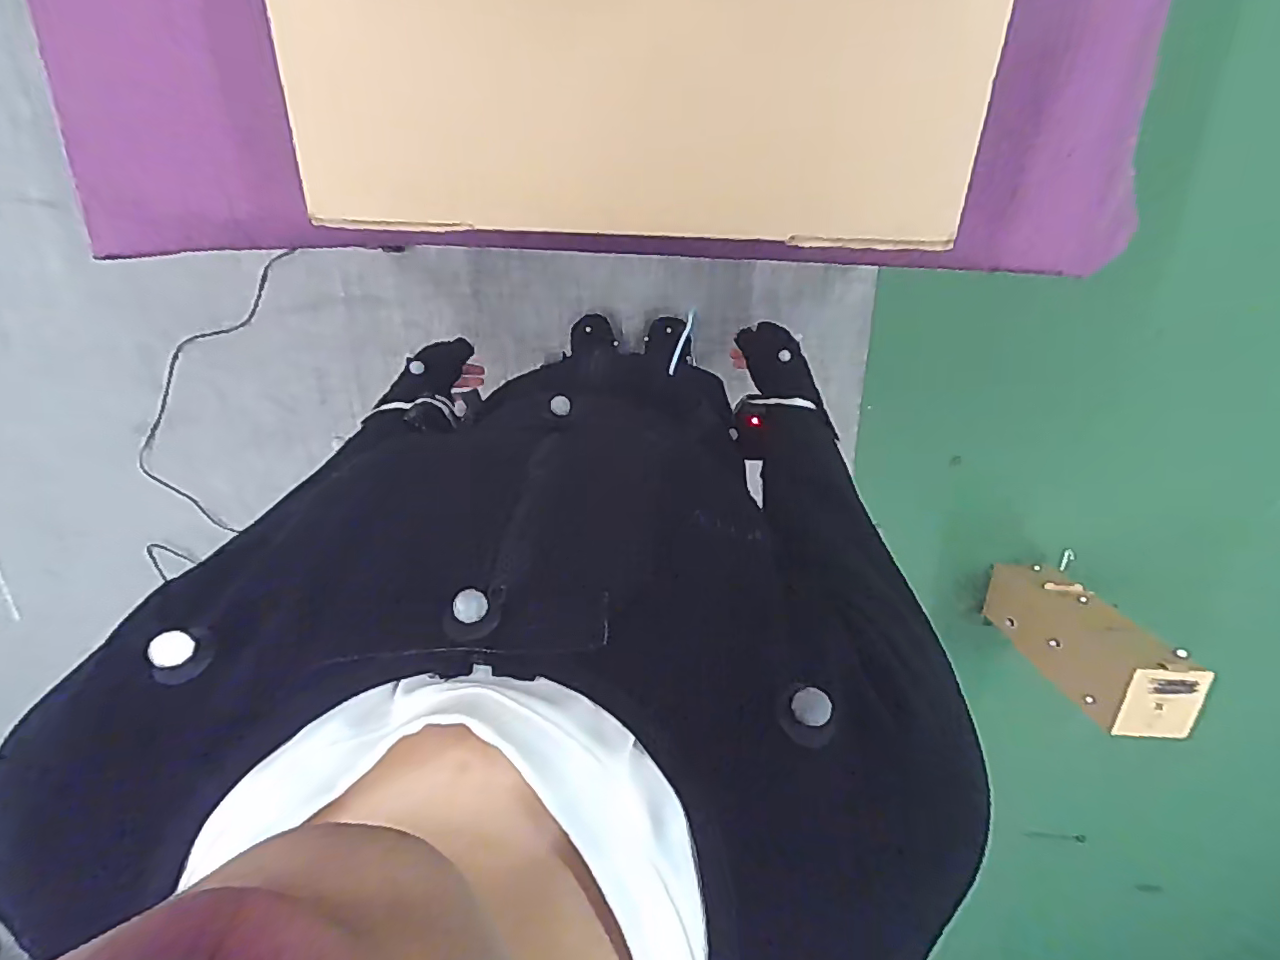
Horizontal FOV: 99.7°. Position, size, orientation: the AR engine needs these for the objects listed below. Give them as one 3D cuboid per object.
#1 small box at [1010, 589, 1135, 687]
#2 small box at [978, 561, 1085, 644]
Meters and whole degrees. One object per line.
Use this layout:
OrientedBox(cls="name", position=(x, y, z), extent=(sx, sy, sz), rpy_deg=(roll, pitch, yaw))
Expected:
OrientedBox(cls="small box", position=(1.098, 0.403, 1.391), extent=(0.168, 0.176, 0.179), rpy_deg=(3, 108, -1))
OrientedBox(cls="small box", position=(1.105, 0.352, 1.545), extent=(0.168, 0.176, 0.179), rpy_deg=(2, 108, -1))
